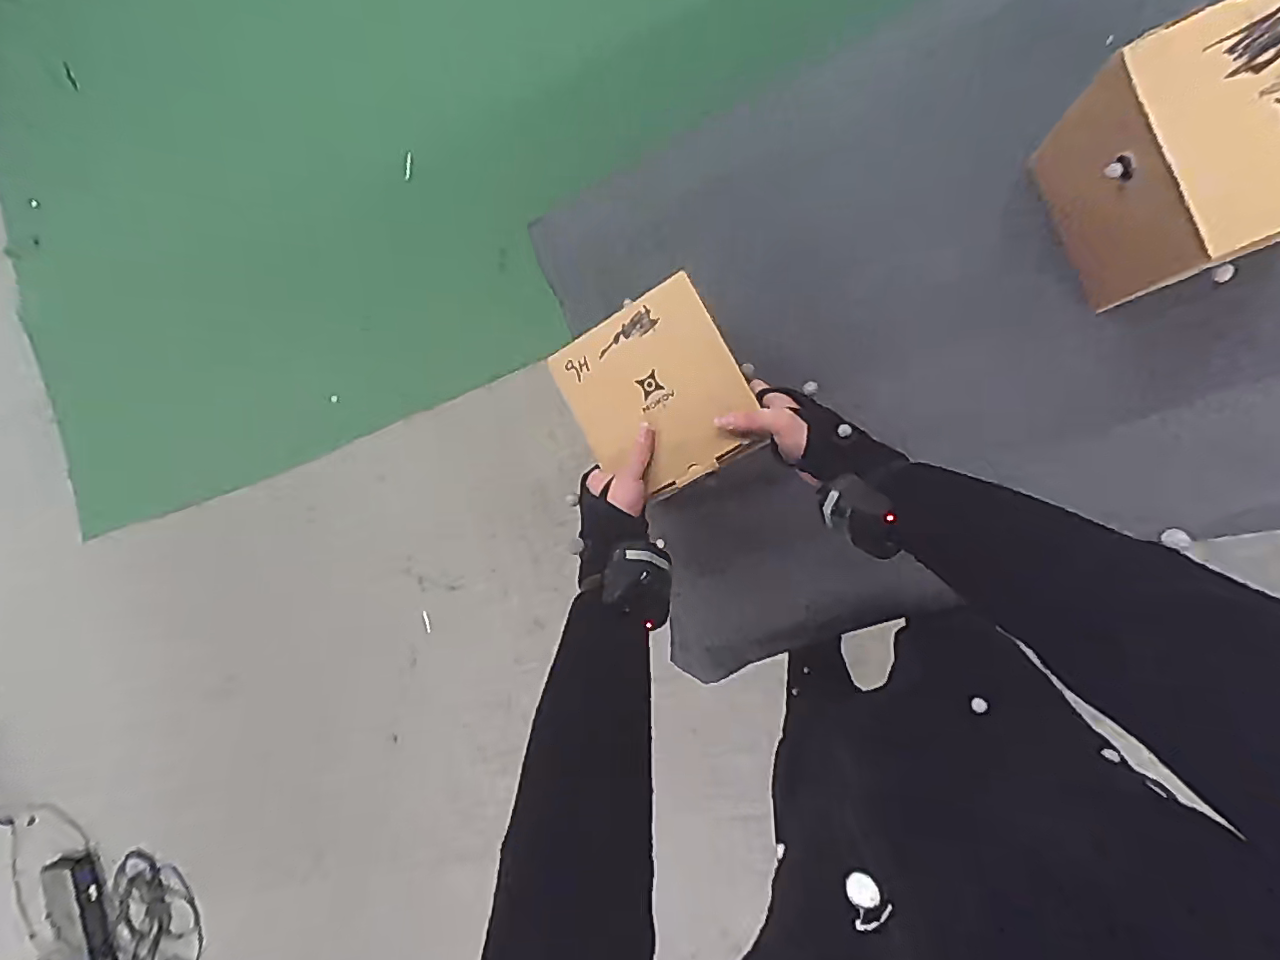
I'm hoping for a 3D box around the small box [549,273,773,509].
[{"bbox_3d":[0.036,-0.088,0.597,0.168,0.176,0.179,-29,85,15],"label":"small box"}]

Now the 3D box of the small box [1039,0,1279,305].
[{"bbox_3d":[0.484,-0.277,0.456,0.168,0.176,0.179,-22,87,16],"label":"small box"}]
